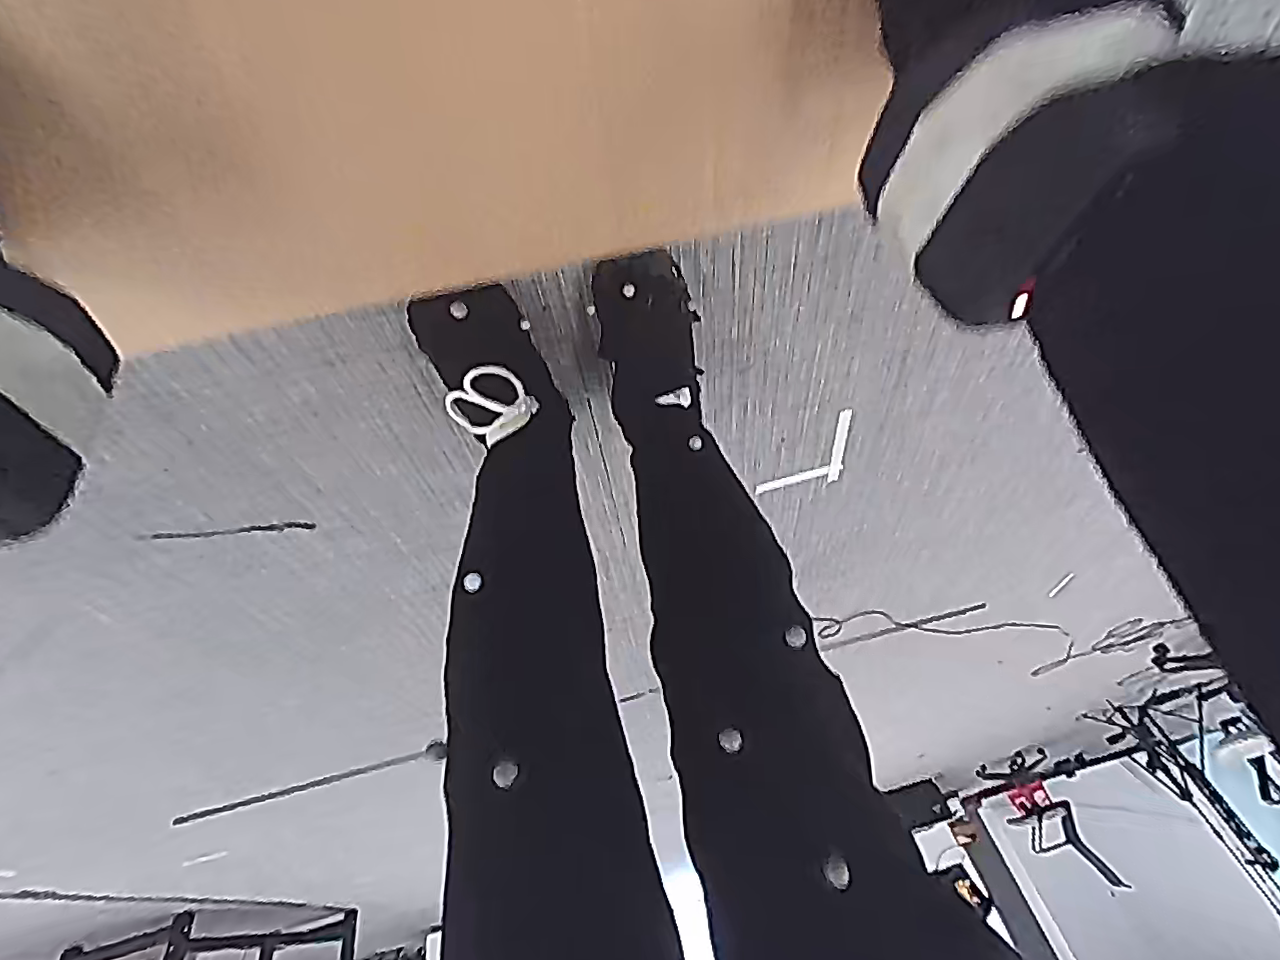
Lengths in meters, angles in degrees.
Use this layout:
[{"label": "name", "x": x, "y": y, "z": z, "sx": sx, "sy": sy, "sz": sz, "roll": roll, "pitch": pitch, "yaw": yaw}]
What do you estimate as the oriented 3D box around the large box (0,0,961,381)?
[{"label": "large box", "x": -0.110, "y": -0.296, "z": 0.236, "sx": 0.408, "sy": 0.320, "sz": 0.320, "roll": -13, "pitch": 141, "yaw": -4}]
